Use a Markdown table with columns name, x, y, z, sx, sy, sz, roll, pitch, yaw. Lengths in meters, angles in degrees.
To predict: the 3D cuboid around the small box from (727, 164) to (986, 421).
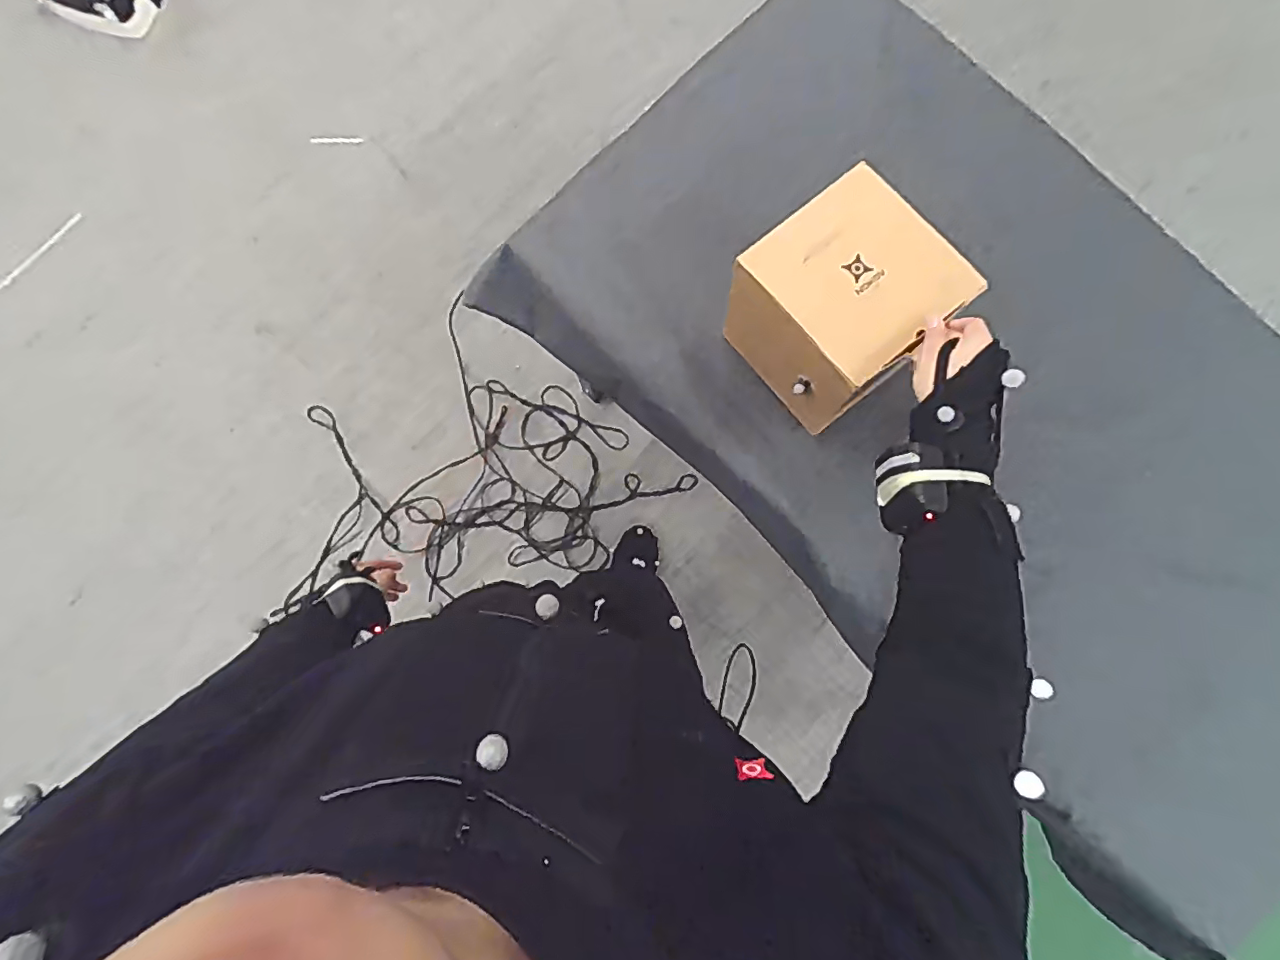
| name | x | y | z | sx | sy | sz | roll | pitch | yaw |
| --- | --- | --- | --- | --- | --- | --- | --- | --- | --- |
| small box | 0.214 | -0.184 | 0.590 | 0.168 | 0.176 | 0.179 | -38 | 78 | -4 |
